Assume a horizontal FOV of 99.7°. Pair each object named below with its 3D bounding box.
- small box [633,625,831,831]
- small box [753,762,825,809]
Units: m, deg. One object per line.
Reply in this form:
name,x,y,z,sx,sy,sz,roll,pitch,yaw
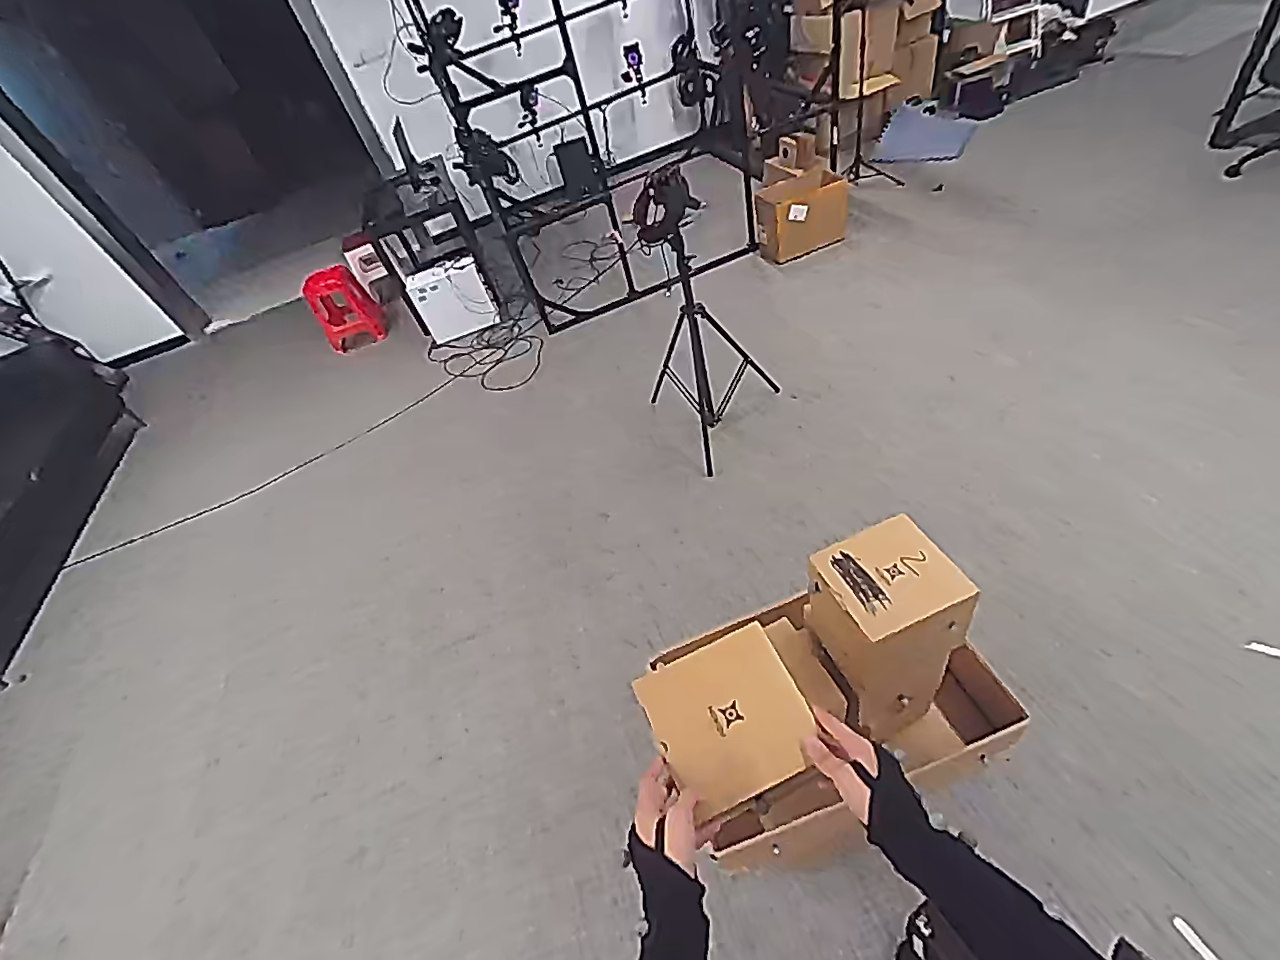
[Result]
small box,0.112,0.314,0.685,0.179,0.176,0.168,-26,56,-5
small box,0.247,0.511,1.071,0.168,0.176,0.179,-26,45,-7
